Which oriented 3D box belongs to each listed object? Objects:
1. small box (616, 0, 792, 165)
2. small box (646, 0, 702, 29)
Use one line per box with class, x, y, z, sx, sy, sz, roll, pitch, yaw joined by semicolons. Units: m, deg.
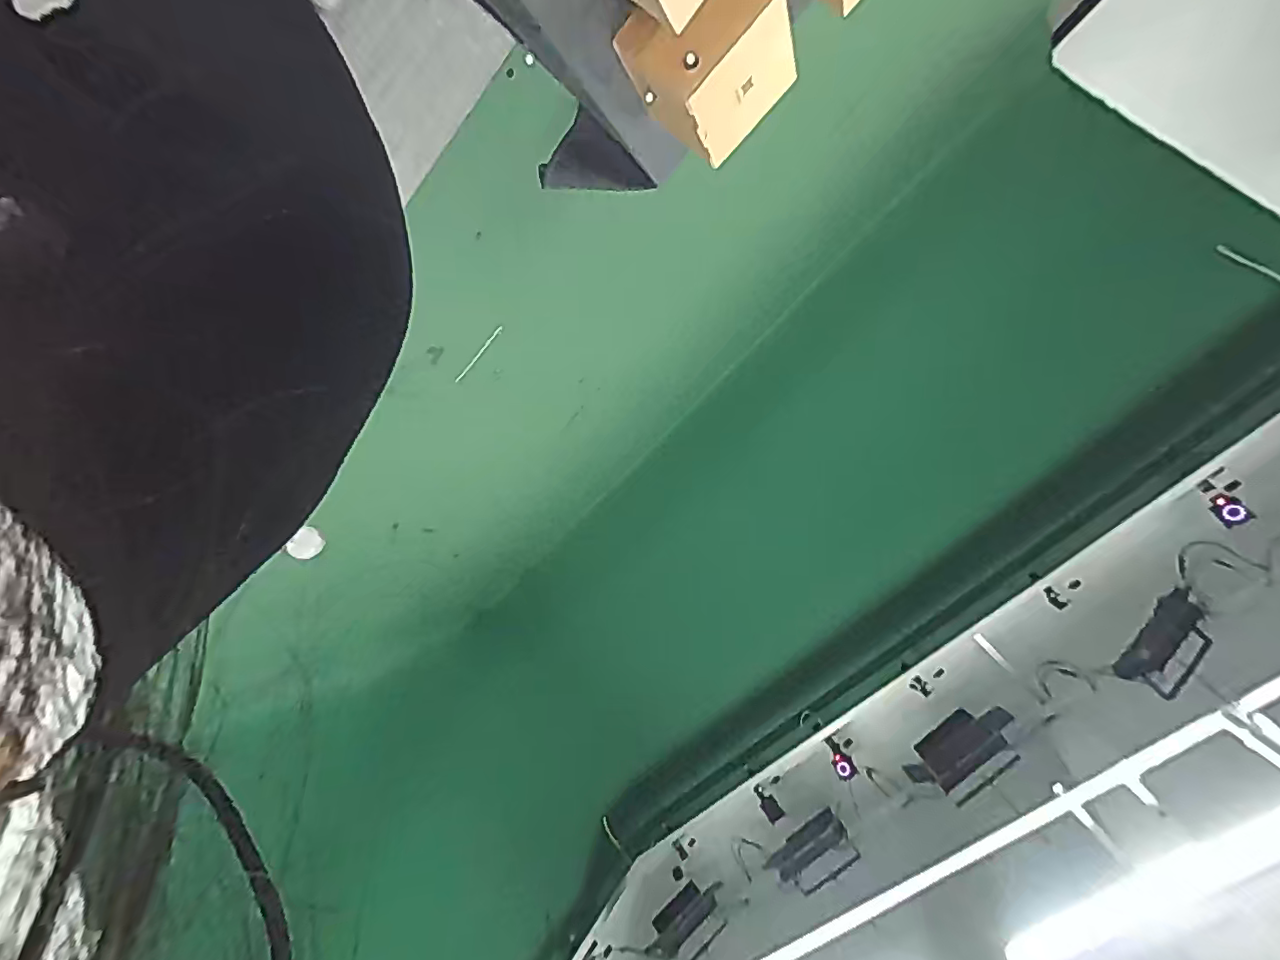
small box;0.098;-0.628;0.800;0.179;0.176;0.168;-45;164;14
small box;0.010;-0.638;0.554;0.168;0.176;0.179;-46;165;20
